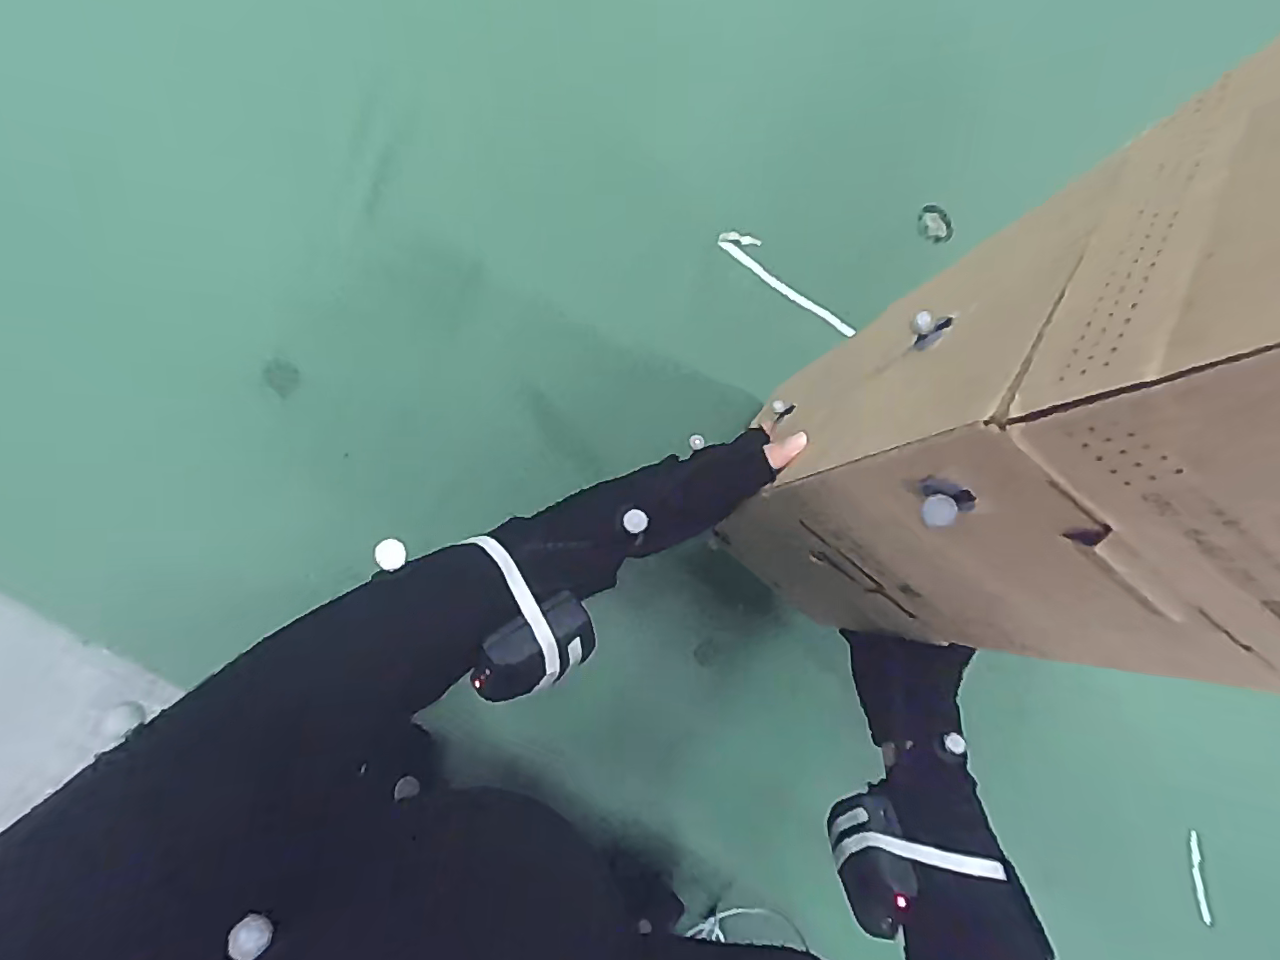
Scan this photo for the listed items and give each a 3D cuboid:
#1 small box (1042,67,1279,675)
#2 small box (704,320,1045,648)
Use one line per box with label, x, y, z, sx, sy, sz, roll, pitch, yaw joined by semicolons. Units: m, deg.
small box;0.258;-0.046;0.142;0.168;0.176;0.179;37;74;-6
small box;0.174;0.010;0.454;0.168;0.176;0.179;37;76;-6
